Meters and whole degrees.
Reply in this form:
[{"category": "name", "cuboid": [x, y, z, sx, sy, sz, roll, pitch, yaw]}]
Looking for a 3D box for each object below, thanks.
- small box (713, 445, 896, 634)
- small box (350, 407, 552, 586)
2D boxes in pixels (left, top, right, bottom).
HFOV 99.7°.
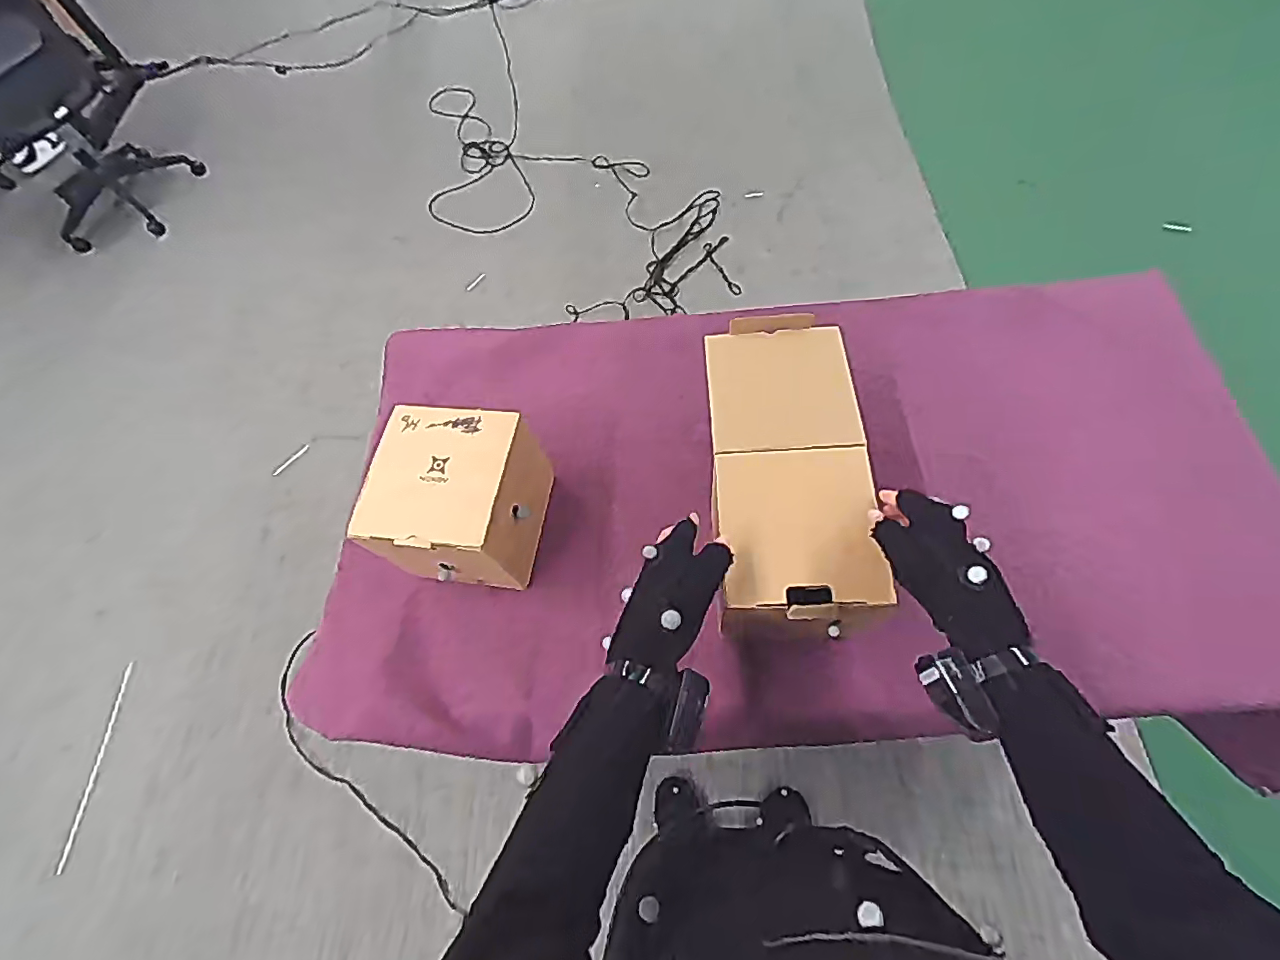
[{"category": "small box", "cuboid": [0.171, 0.078, 0.622, 0.168, 0.176, 0.179, -3, 63, 6]}, {"category": "small box", "cuboid": [-0.224, 0.028, 0.695, 0.168, 0.176, 0.179, 5, 65, 9]}]
